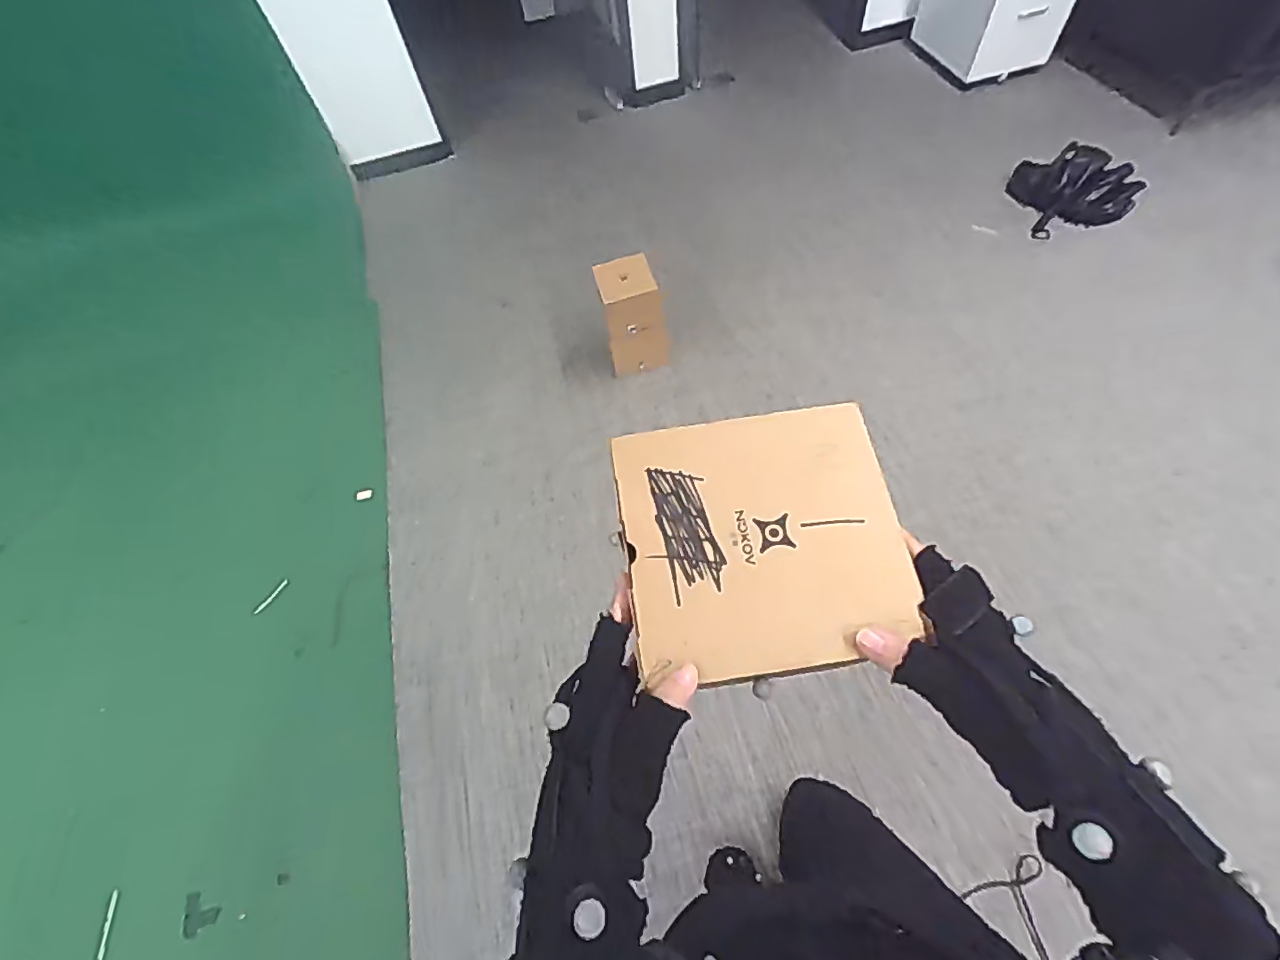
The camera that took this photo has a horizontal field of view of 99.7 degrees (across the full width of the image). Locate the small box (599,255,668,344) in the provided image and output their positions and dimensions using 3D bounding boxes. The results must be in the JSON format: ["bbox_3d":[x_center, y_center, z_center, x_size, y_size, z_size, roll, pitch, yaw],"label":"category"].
[{"bbox_3d":[-0.018,-0.554,1.673,0.168,0.176,0.179,-17,60,0],"label":"small box"}]

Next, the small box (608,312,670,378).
[{"bbox_3d":[0.001,-0.470,1.812,0.179,0.176,0.168,-15,59,-1],"label":"small box"}]

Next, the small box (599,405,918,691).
[{"bbox_3d":[0.072,0.065,0.417,0.179,0.176,0.168,-8,68,0],"label":"small box"}]
